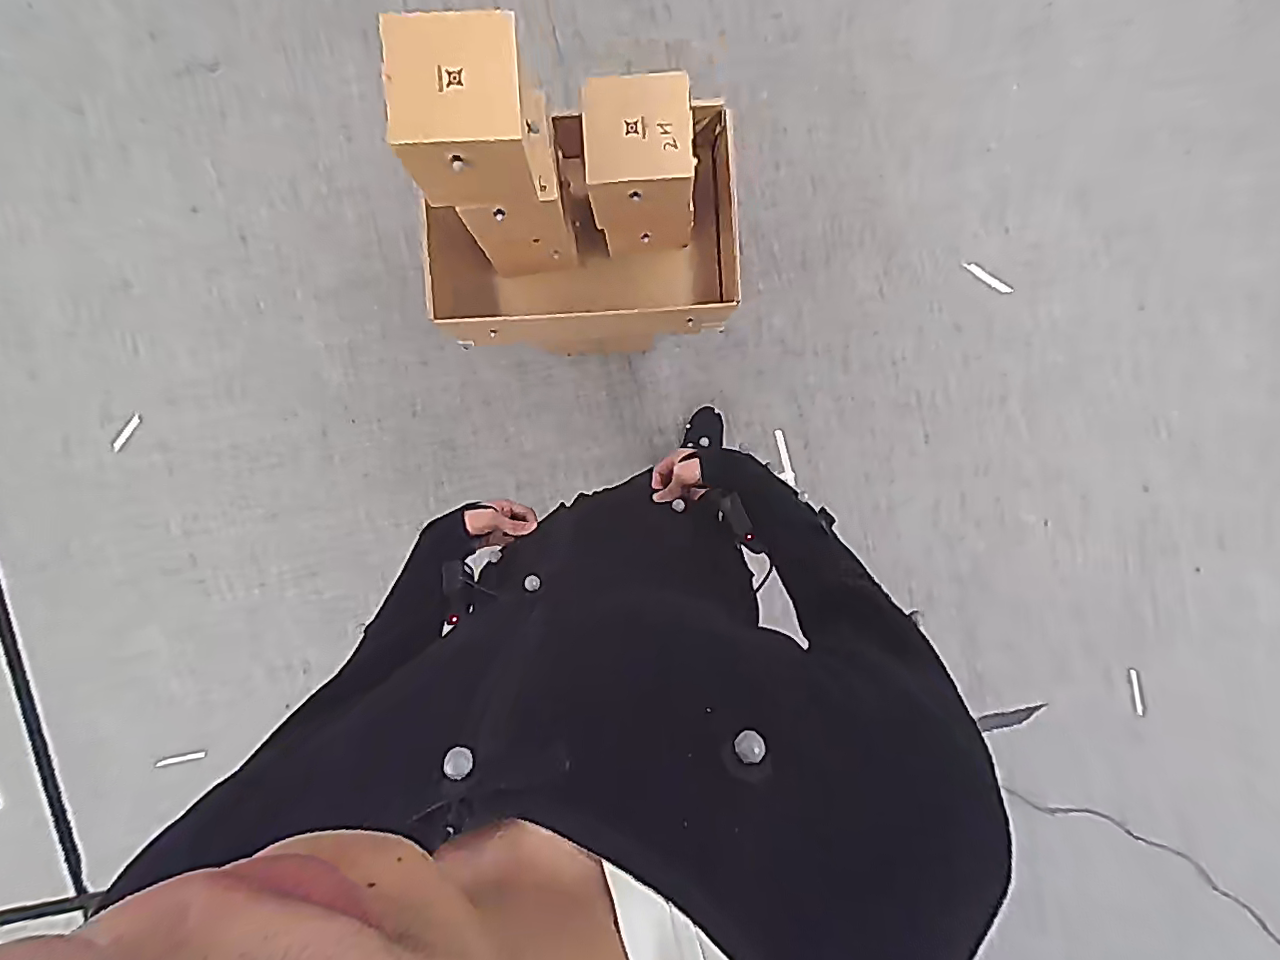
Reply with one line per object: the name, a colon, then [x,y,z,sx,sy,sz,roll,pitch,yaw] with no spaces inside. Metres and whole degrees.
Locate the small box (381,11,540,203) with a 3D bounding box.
small box: [-0.242,-0.517,0.772,0.179,0.176,0.168,-4,92,-1]
